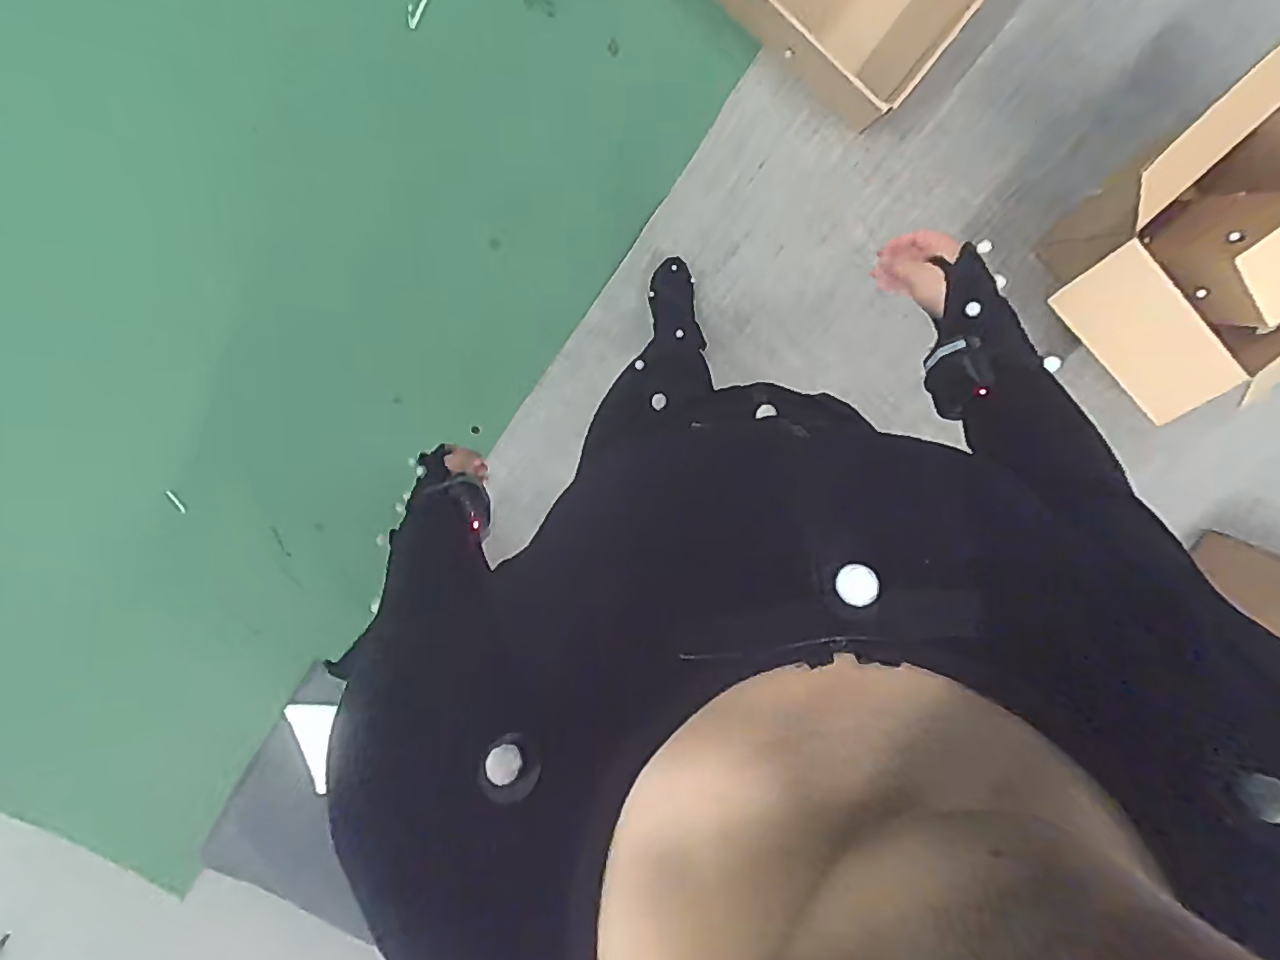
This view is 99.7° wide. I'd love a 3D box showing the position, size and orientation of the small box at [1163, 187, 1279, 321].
[{"bbox_3d":[1.167,-0.430,1.032,0.179,0.176,0.168,-41,106,15],"label":"small box"}]
